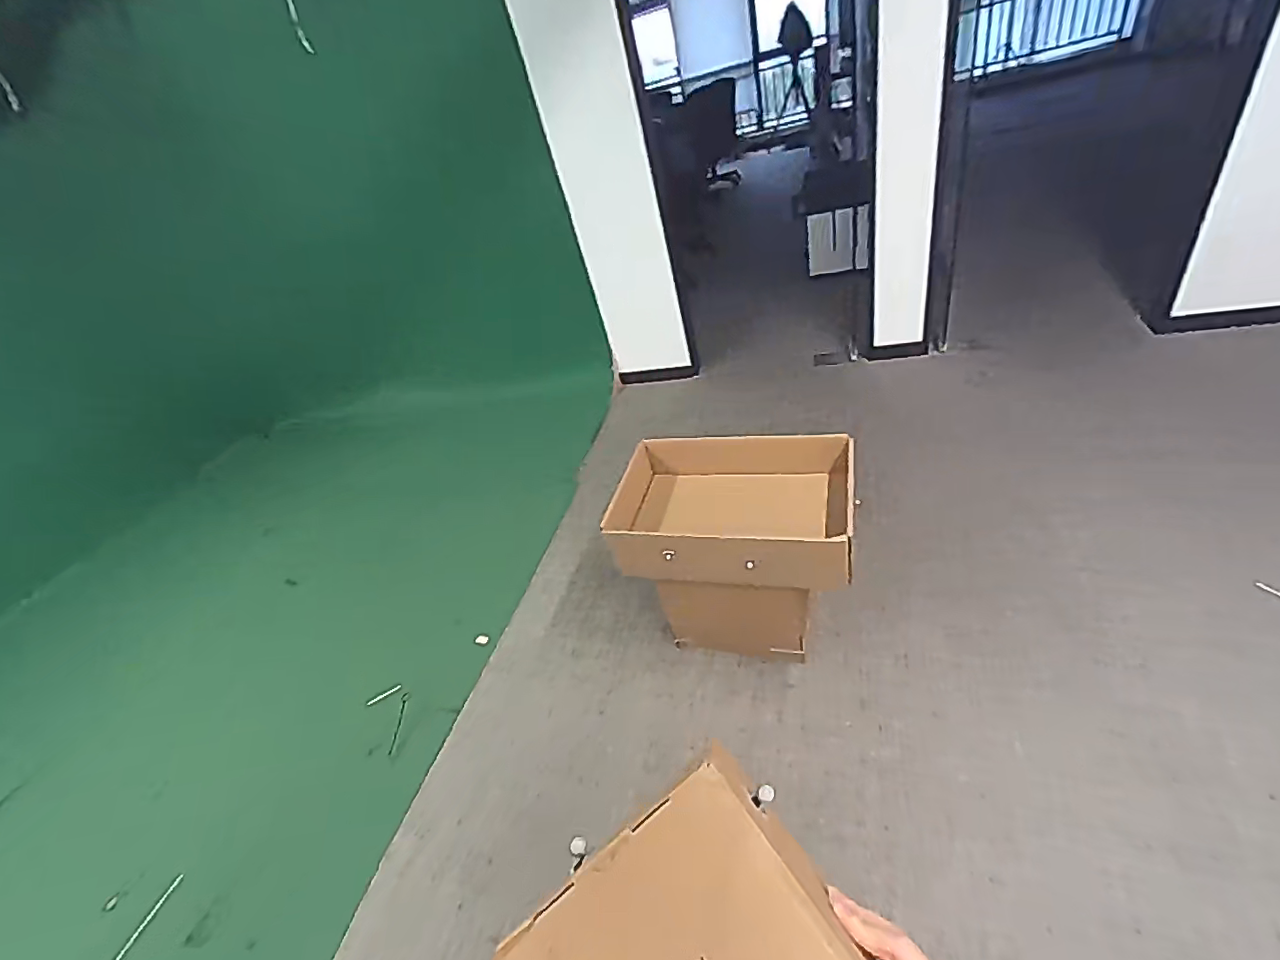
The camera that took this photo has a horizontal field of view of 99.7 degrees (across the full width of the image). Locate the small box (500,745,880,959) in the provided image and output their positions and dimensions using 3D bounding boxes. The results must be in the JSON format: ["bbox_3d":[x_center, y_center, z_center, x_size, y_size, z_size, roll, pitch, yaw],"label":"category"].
[{"bbox_3d":[0.043,0.302,0.362,0.168,0.176,0.179,-38,68,-5],"label":"small box"}]
